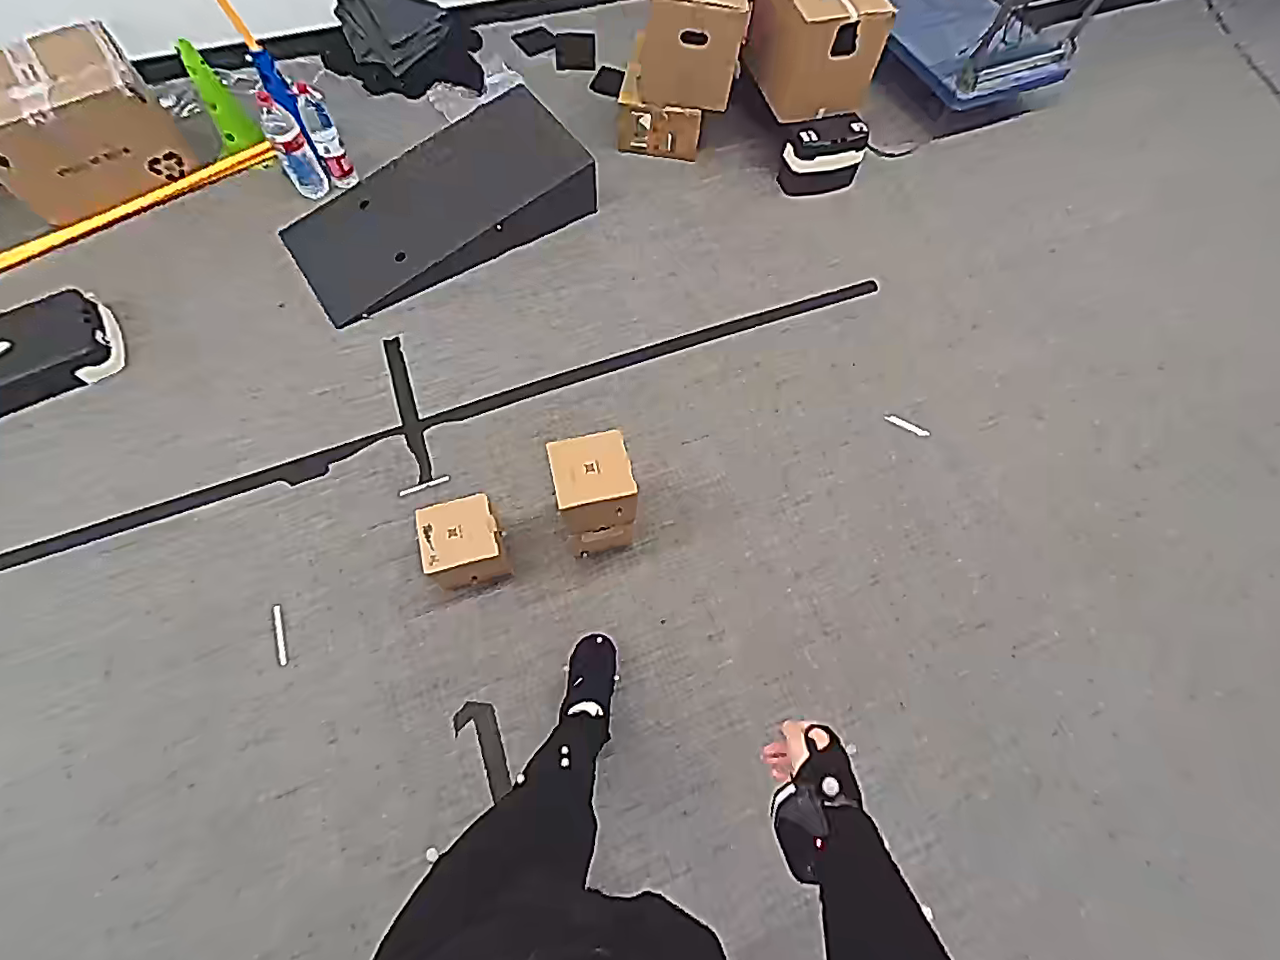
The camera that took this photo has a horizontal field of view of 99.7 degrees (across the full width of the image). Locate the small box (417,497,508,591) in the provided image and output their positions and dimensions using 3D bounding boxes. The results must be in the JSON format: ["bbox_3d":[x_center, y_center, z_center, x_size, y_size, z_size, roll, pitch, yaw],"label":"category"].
[{"bbox_3d":[-0.433,0.163,1.344,0.179,0.176,0.168,-13,67,-10],"label":"small box"}]

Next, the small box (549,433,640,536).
[{"bbox_3d":[-0.105,0.014,1.250,0.179,0.176,0.168,-11,66,-8],"label":"small box"}]

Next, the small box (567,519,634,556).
[{"bbox_3d":[-0.114,0.086,1.396,0.168,0.176,0.179,-12,66,-9],"label":"small box"}]
